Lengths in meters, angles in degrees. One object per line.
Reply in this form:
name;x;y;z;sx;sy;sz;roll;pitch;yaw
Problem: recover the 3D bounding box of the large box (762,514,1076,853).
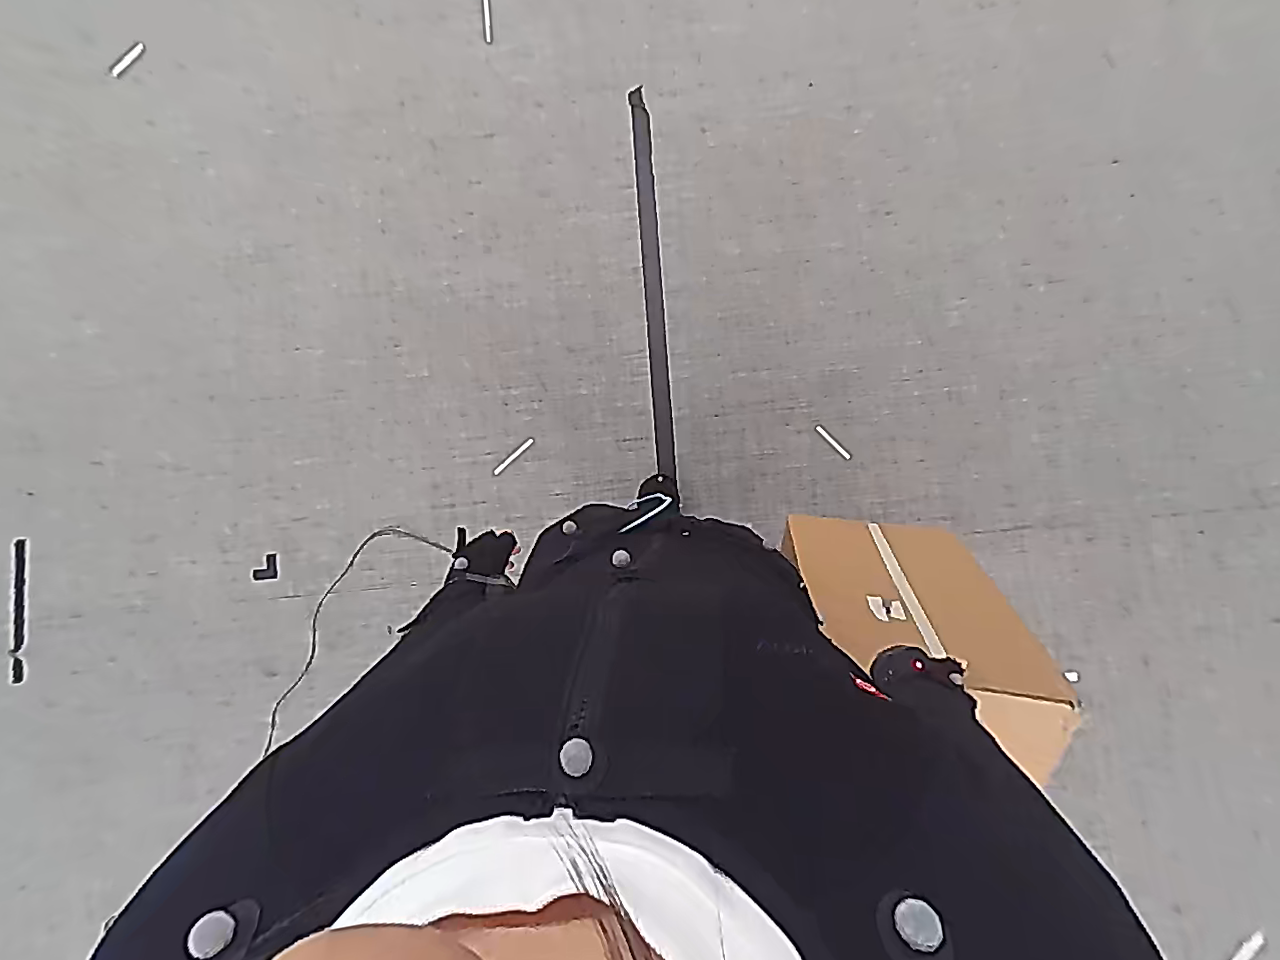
large box;0.390;0.303;0.901;0.320;0.408;0.320;6;117;7
